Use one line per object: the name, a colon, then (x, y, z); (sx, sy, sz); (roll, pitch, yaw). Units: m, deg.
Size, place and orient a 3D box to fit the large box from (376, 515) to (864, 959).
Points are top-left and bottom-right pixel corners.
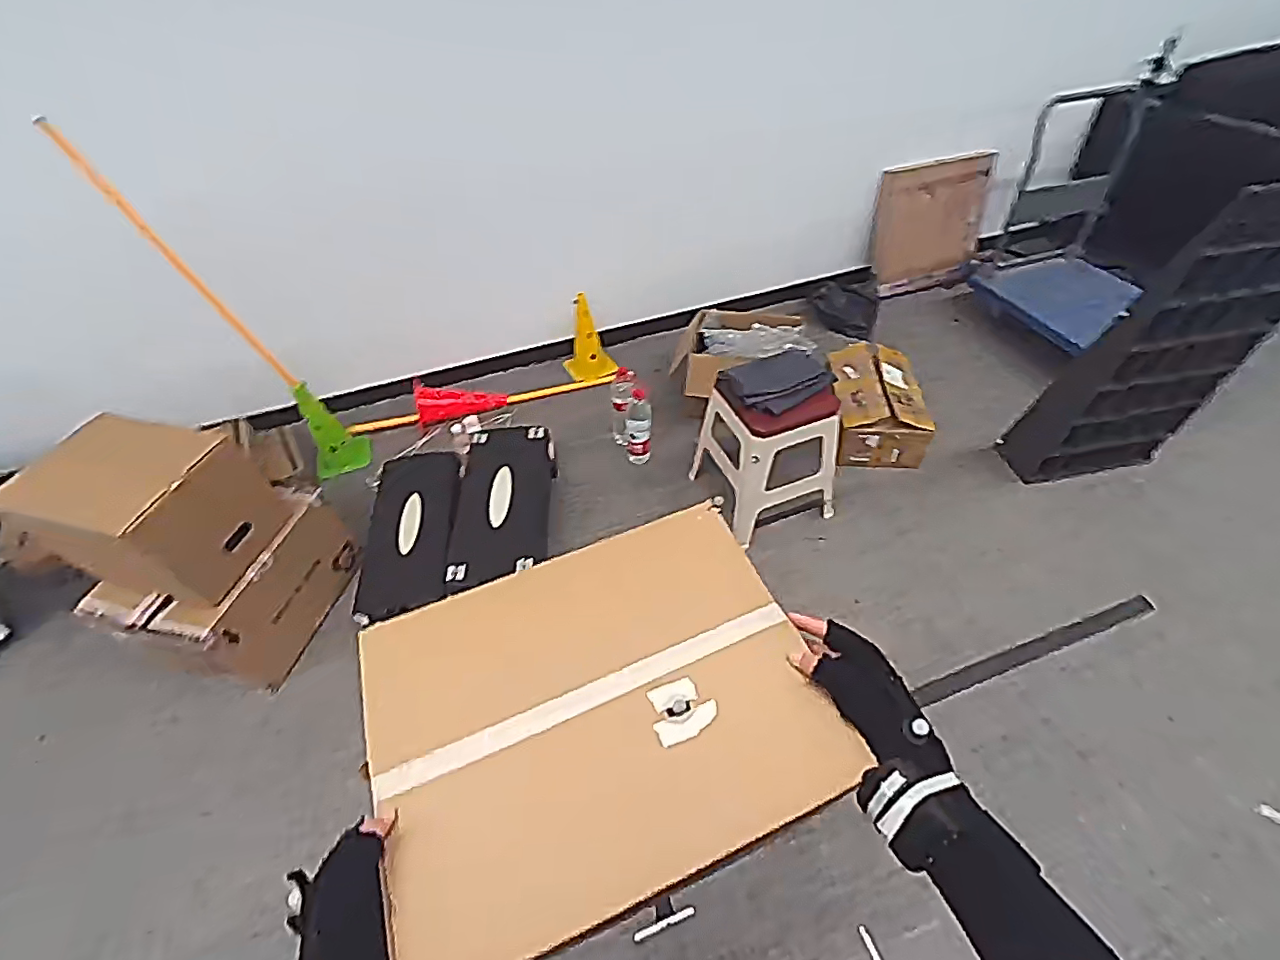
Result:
large box: (-0.032, 0.308, 0.638); (0.408, 0.320, 0.320); (-20, 53, -12)
